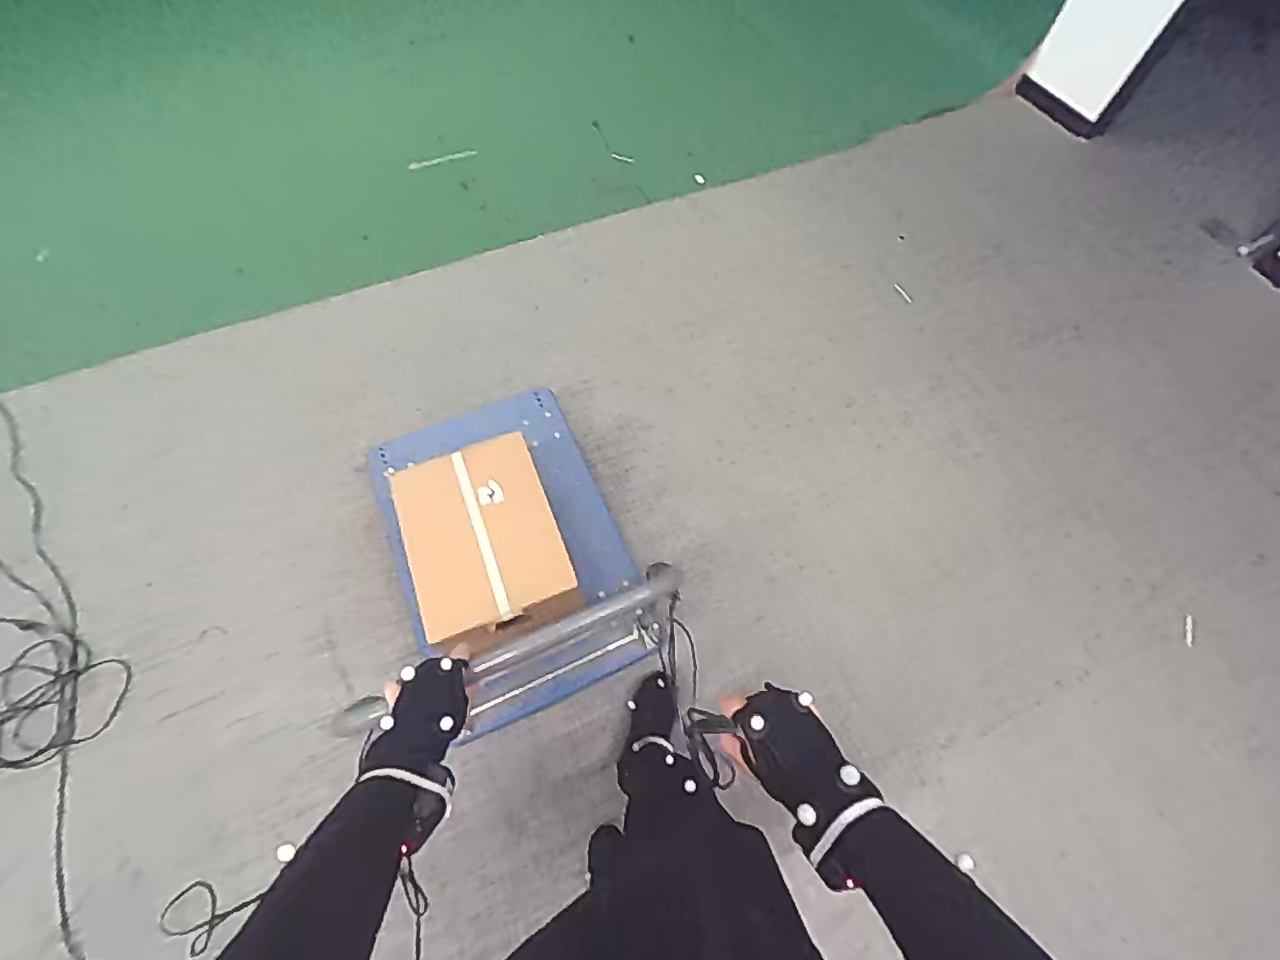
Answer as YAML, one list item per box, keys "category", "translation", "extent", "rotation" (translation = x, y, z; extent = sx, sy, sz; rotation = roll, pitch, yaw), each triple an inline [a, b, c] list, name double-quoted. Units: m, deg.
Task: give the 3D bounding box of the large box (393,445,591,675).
- category: "large box"
  translation: [-0.339, 0.197, 1.293]
  extent: [0.320, 0.320, 0.408]
  rotation: [-20, 64, -11]
